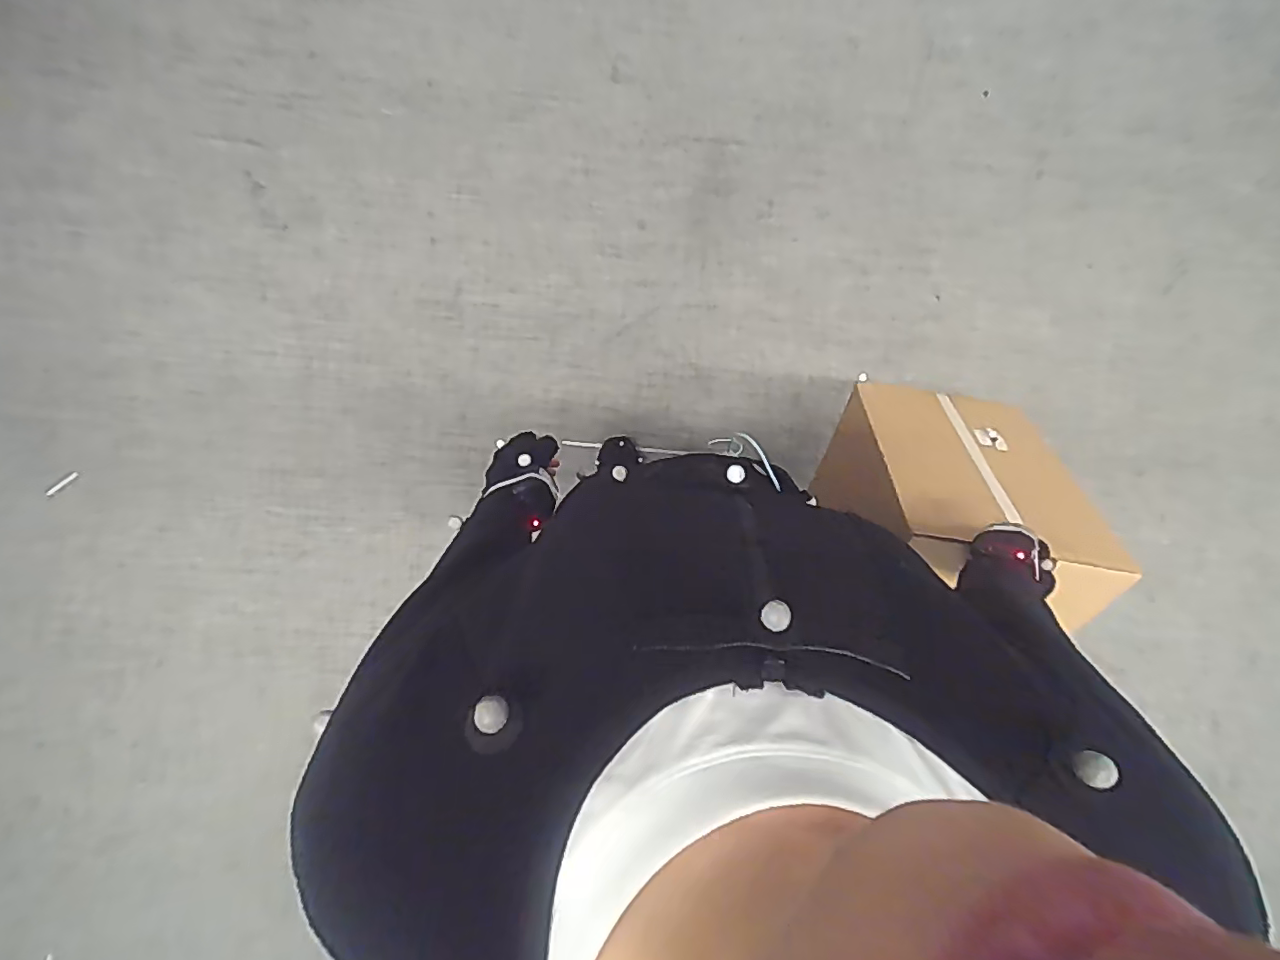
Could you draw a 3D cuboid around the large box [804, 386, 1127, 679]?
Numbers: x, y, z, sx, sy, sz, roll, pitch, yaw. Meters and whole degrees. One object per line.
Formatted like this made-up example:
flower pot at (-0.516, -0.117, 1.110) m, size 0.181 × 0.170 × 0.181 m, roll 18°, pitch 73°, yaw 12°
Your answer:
large box at (0.511, 0.083, 0.971) m, size 0.320 × 0.408 × 0.320 m, roll 11°, pitch 130°, yaw 0°
